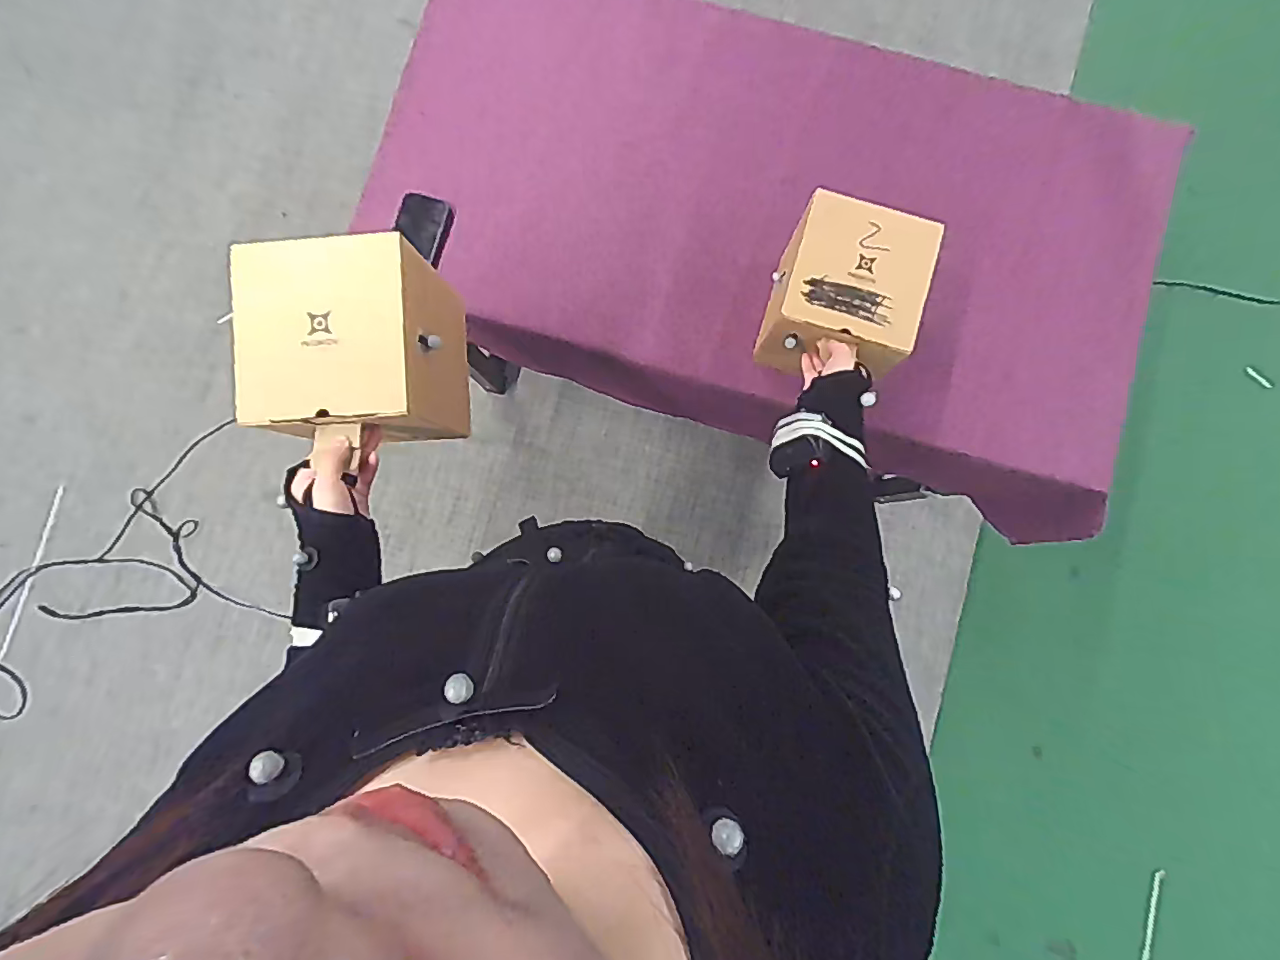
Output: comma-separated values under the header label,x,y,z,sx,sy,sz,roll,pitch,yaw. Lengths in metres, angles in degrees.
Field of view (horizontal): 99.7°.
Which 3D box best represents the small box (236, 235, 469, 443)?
label,x,y,z,sx,sy,sz,roll,pitch,yaw
small box,-0.295,-0.139,0.587,0.168,0.176,0.179,-3,89,1
